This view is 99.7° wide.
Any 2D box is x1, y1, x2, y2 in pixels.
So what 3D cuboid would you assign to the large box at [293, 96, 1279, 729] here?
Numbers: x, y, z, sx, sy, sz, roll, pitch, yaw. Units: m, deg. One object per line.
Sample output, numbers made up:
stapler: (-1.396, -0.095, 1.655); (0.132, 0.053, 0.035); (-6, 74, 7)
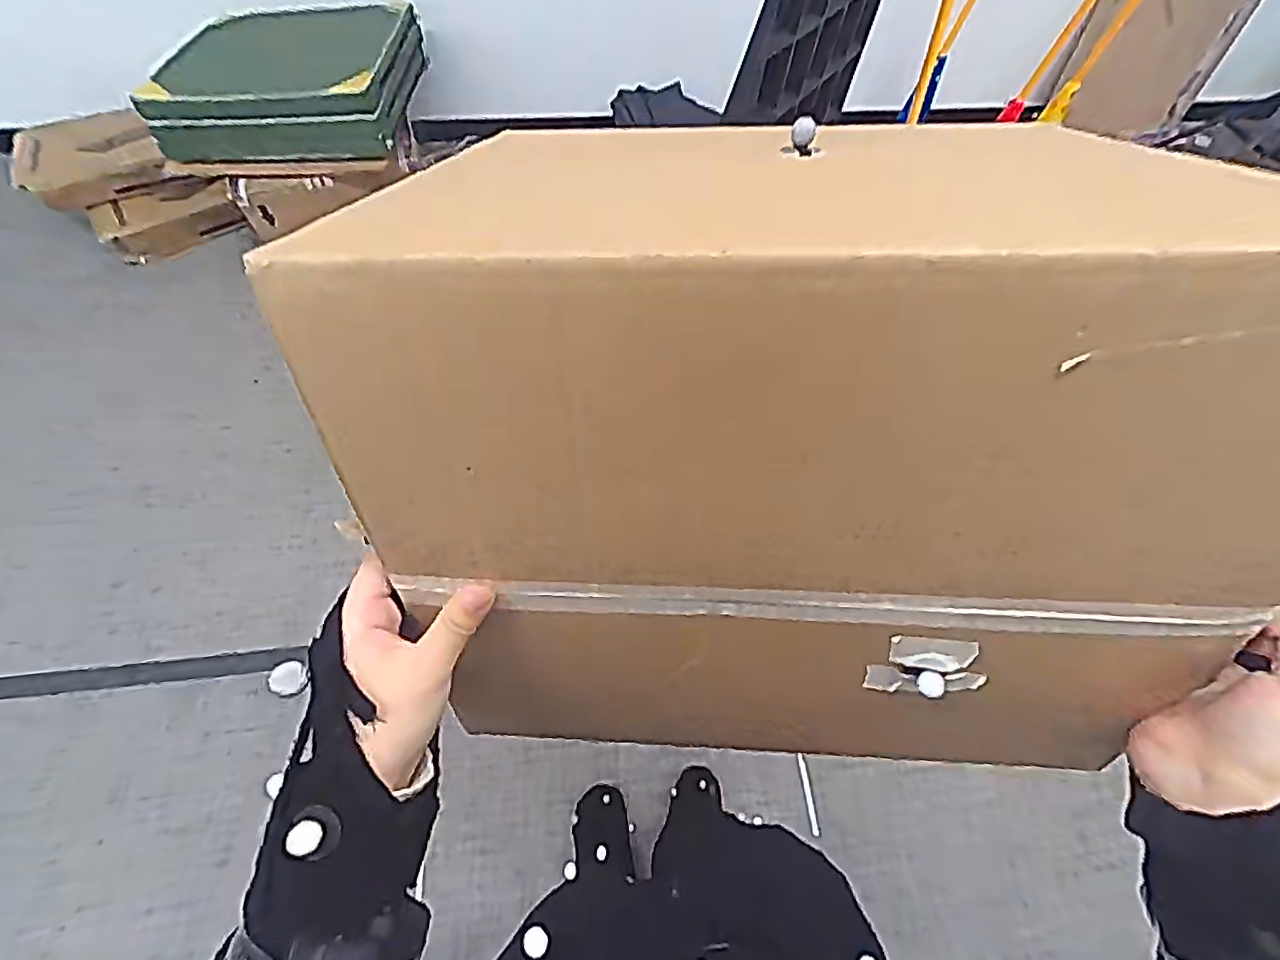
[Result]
large box: (0.094, -0.059, 0.369); (0.408, 0.320, 0.320); (0, 39, 4)
